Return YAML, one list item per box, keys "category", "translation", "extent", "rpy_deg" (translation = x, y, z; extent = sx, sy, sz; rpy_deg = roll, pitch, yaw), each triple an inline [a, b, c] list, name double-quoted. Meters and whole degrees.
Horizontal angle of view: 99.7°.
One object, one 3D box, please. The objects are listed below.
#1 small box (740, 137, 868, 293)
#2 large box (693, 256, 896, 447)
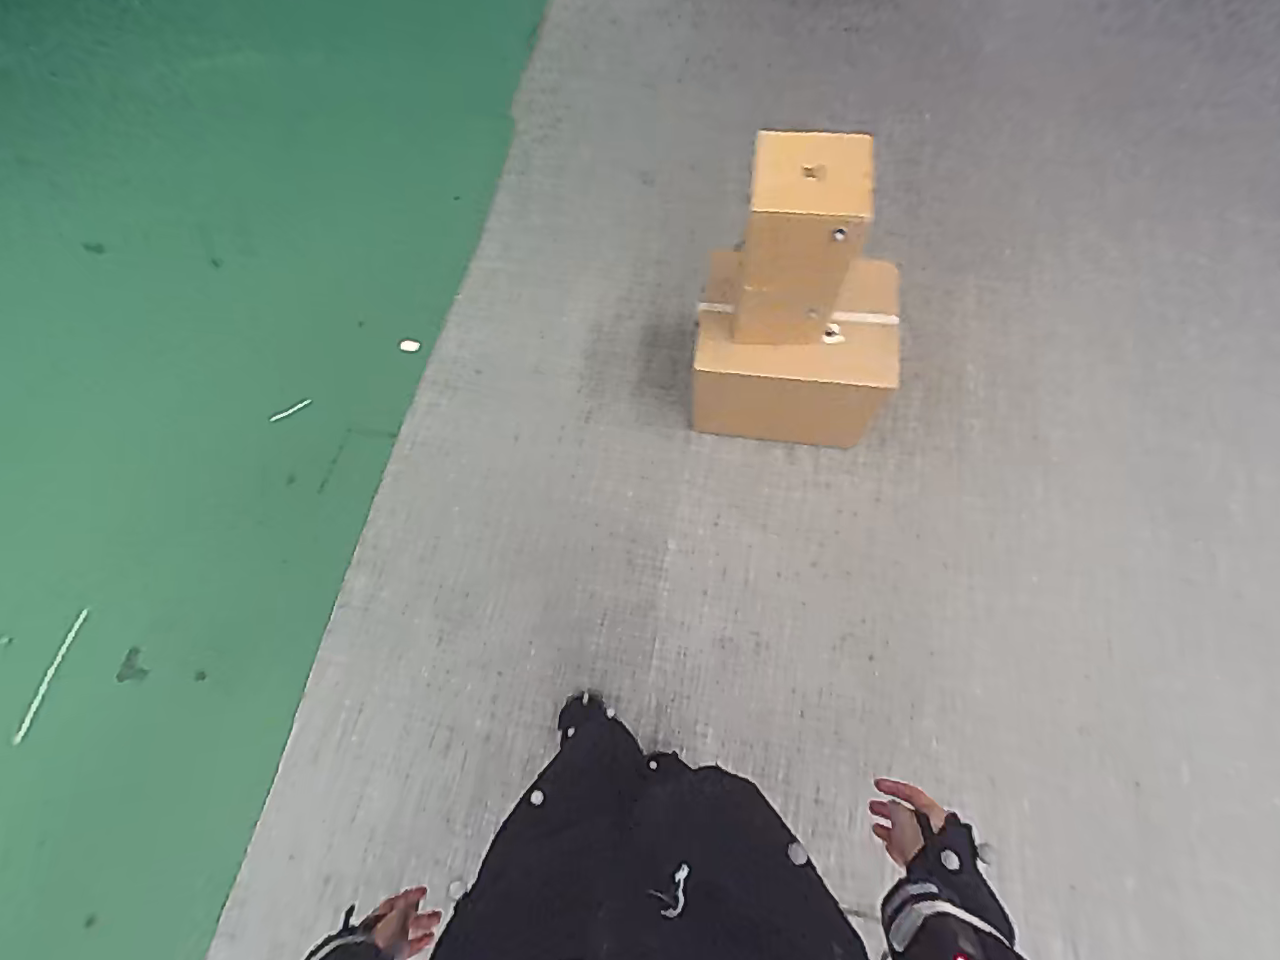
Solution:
- category: "small box"
  translation: [0.263, -0.433, 0.898]
  extent: [0.179, 0.176, 0.168]
  rpy_deg: [6, 71, 6]
- category: "large box"
  translation: [0.338, -0.289, 1.274]
  extent: [0.408, 0.320, 0.320]
  rpy_deg: [6, 72, 6]
